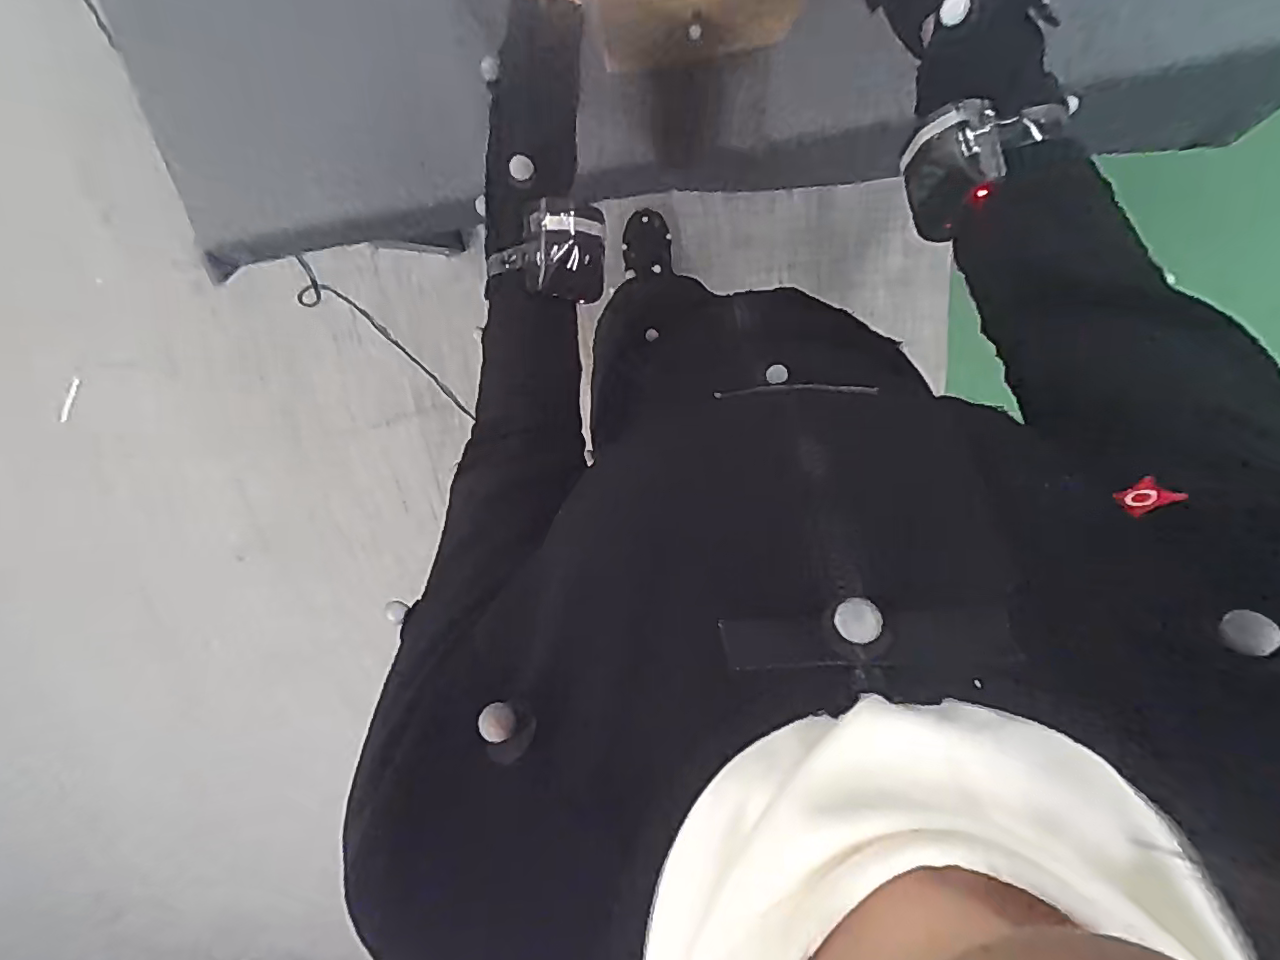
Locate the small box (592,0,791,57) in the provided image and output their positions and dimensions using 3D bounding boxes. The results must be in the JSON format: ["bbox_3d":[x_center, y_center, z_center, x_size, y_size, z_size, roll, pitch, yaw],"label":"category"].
[{"bbox_3d":[0.041,-0.470,0.426,0.179,0.176,0.168,-5,109,3],"label":"small box"}]
